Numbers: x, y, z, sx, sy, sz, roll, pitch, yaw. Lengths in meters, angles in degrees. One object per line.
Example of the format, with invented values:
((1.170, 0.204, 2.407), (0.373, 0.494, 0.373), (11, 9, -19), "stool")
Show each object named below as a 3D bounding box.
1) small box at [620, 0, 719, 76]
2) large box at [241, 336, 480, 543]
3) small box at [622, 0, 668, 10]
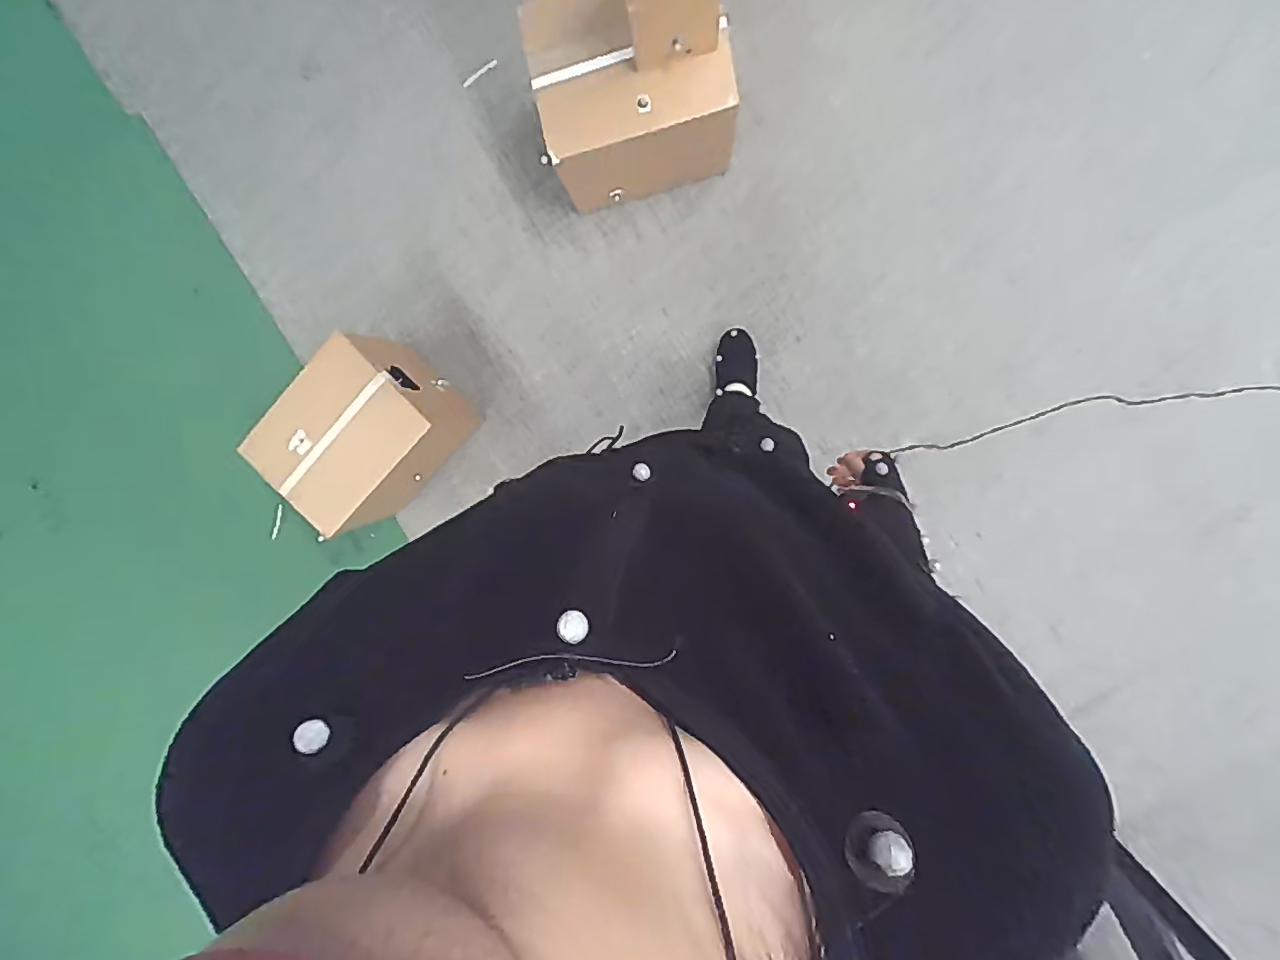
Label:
((0.046, -0.897, 0.989), (0.168, 0.176, 0.179), (-11, 95, 8), "small box")
((-0.704, -0.111, 1.417), (0.408, 0.320, 0.320), (-44, 90, 11), "large box")
((0.037, -0.882, 0.827), (0.179, 0.176, 0.168), (-10, 95, 8), "small box")
